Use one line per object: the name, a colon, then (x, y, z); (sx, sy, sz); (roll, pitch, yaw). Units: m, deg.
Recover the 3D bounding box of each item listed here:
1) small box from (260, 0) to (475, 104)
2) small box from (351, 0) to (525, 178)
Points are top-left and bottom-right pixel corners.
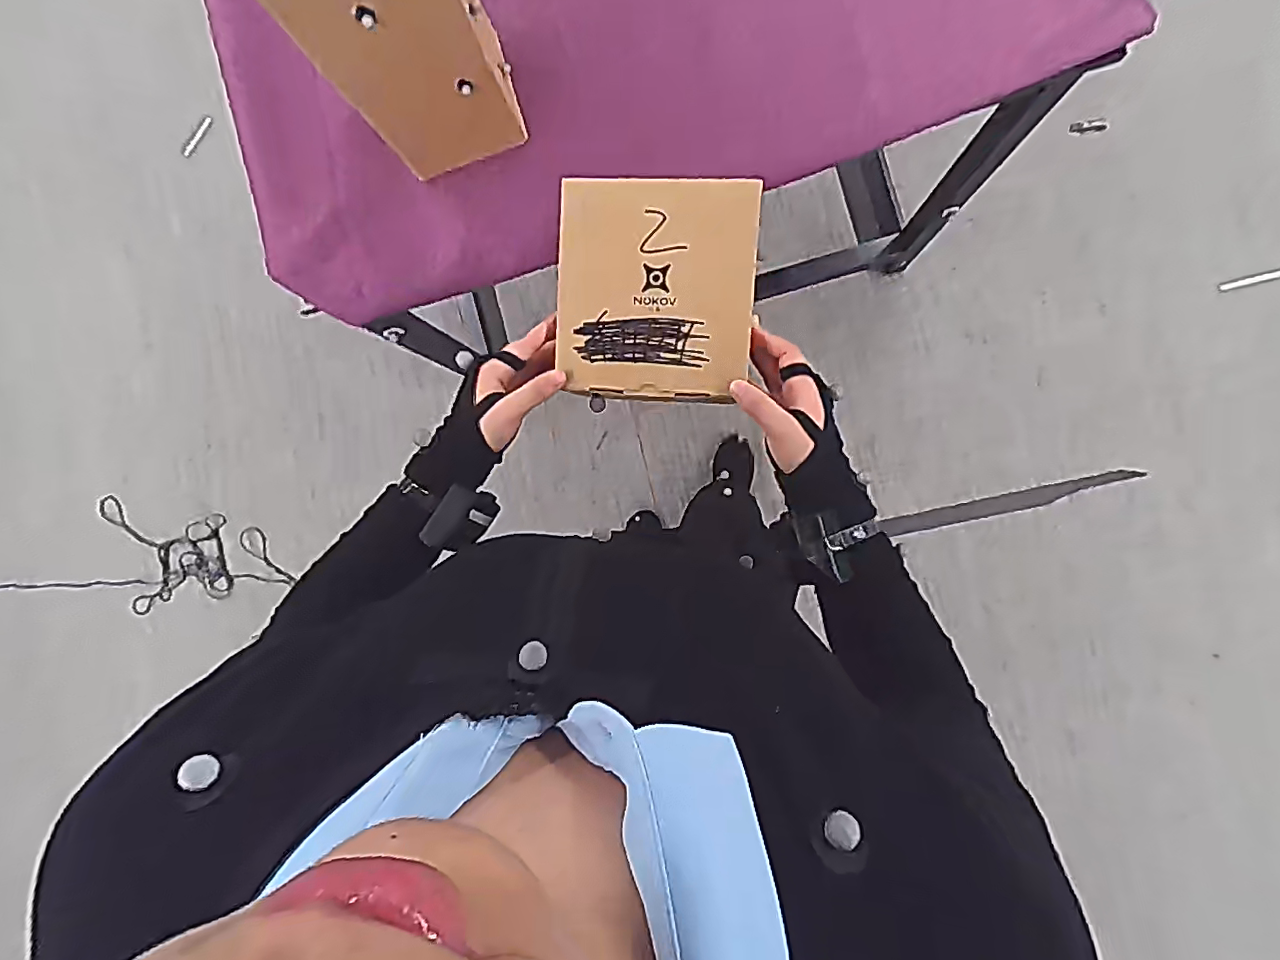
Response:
small box: (-0.291, -0.548, 0.563); (0.179, 0.176, 0.168); (-17, 87, 5)
small box: (-0.278, -0.547, 0.727); (0.179, 0.176, 0.168); (-17, 87, 4)
